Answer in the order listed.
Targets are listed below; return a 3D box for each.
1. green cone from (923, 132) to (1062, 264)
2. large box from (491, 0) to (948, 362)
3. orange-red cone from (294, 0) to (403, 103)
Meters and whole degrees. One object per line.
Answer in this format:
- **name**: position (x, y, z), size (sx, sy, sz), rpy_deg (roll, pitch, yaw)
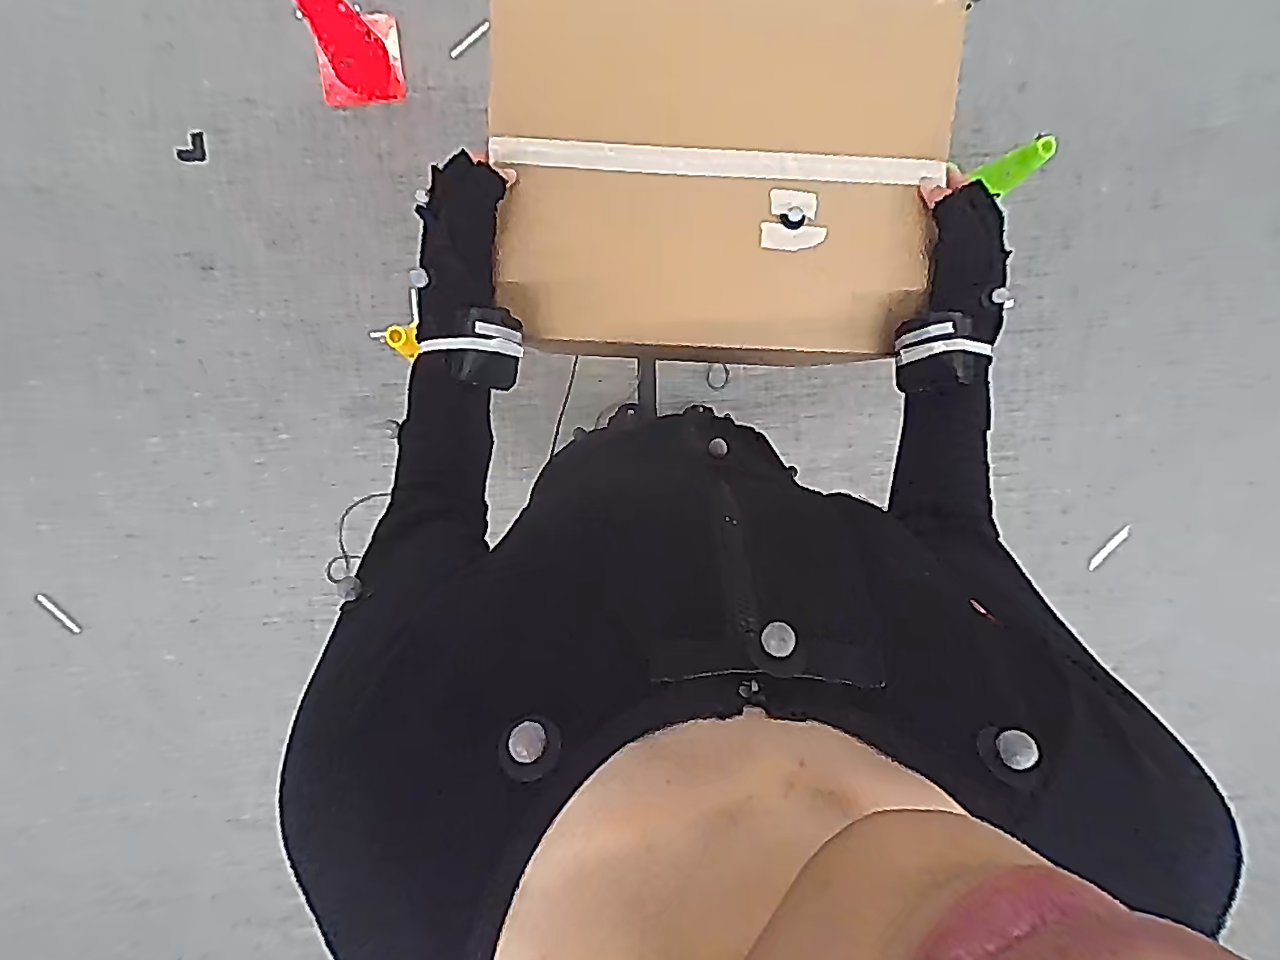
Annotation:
- **green cone**: position (0.811, -0.687, 1.256), size (0.202, 0.368, 0.200), rpy_deg (-40, 97, 1)
- **large box**: position (0.061, -0.307, 0.632), size (0.408, 0.320, 0.320), rpy_deg (2, 100, -3)
- **orange-red cone**: position (-0.687, -1.021, 1.166), size (0.198, 0.360, 0.199), rpy_deg (-5, 98, -1)
